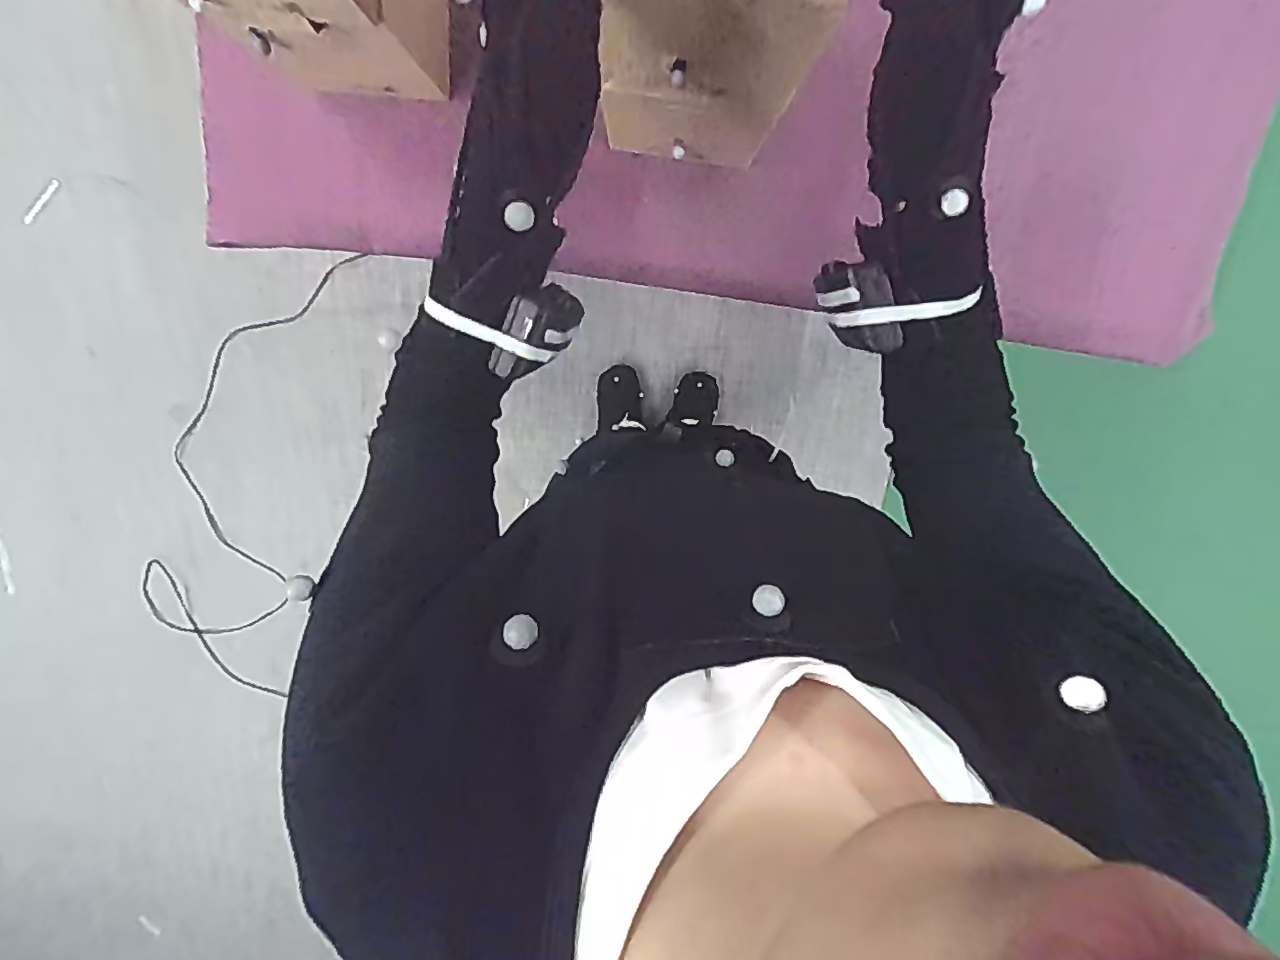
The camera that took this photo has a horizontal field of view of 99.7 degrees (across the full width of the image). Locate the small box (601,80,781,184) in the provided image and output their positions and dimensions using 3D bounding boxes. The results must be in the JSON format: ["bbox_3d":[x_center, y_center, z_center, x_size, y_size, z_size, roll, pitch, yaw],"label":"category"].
[{"bbox_3d":[0.058,-0.424,0.538,0.168,0.176,0.179,8,105,-1],"label":"small box"}]

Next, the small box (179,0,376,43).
[{"bbox_3d":[-0.293,-0.441,0.364,0.168,0.176,0.179,7,105,-3],"label":"small box"}]
